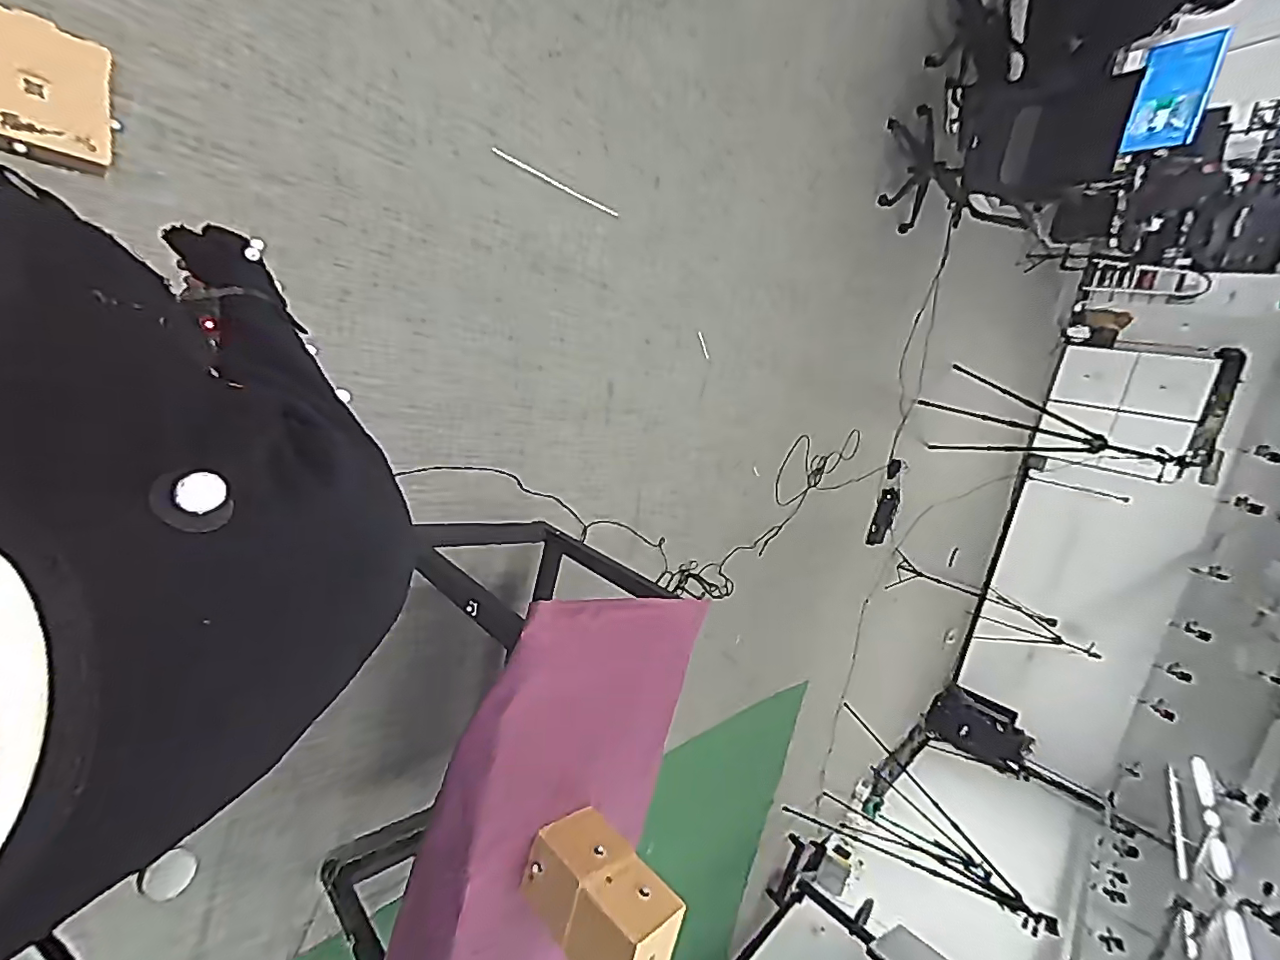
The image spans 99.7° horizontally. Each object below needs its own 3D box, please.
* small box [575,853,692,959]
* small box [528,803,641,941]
[{"bbox_3d":[-0.018,0.955,1.169,0.168,0.176,0.179,8,100,-48],"label":"small box"},{"bbox_3d":[-0.132,0.906,1.273,0.179,0.176,0.168,10,97,-48],"label":"small box"}]
